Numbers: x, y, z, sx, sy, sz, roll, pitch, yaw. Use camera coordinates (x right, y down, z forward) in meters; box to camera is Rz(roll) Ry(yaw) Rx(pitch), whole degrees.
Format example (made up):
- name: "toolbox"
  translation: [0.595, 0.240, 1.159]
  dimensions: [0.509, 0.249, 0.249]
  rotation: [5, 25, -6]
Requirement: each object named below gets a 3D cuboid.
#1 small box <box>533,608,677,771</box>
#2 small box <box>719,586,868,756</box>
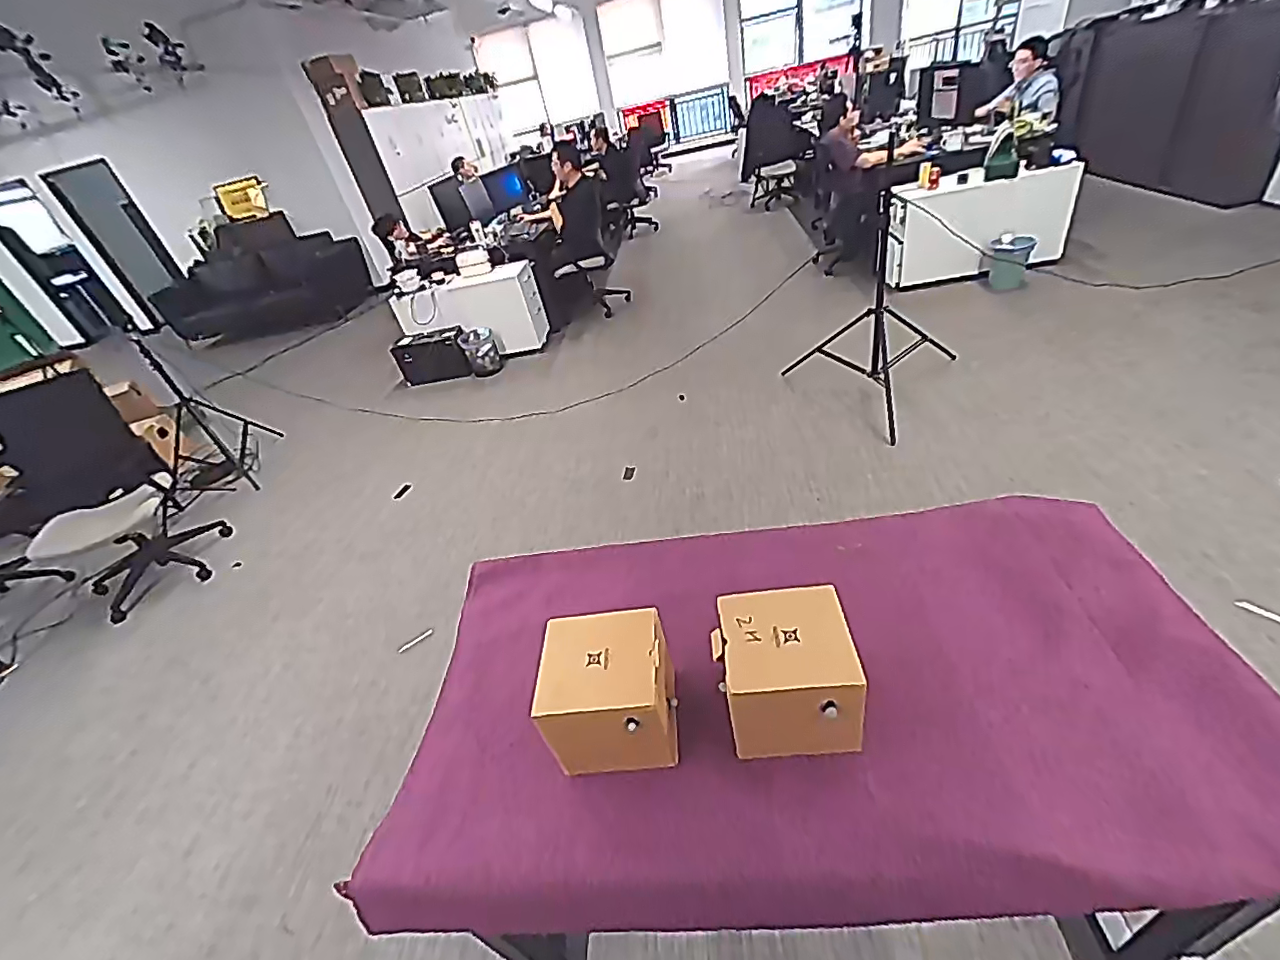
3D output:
- name: "small box"
  translation: [-0.044, 0.323, 0.827]
  dimensions: [0.179, 0.176, 0.168]
  rotation: [-8, 36, 6]
- name: "small box"
  translation: [0.217, 0.281, 0.792]
  dimensions: [0.179, 0.176, 0.168]
  rotation: [-9, 35, 8]
